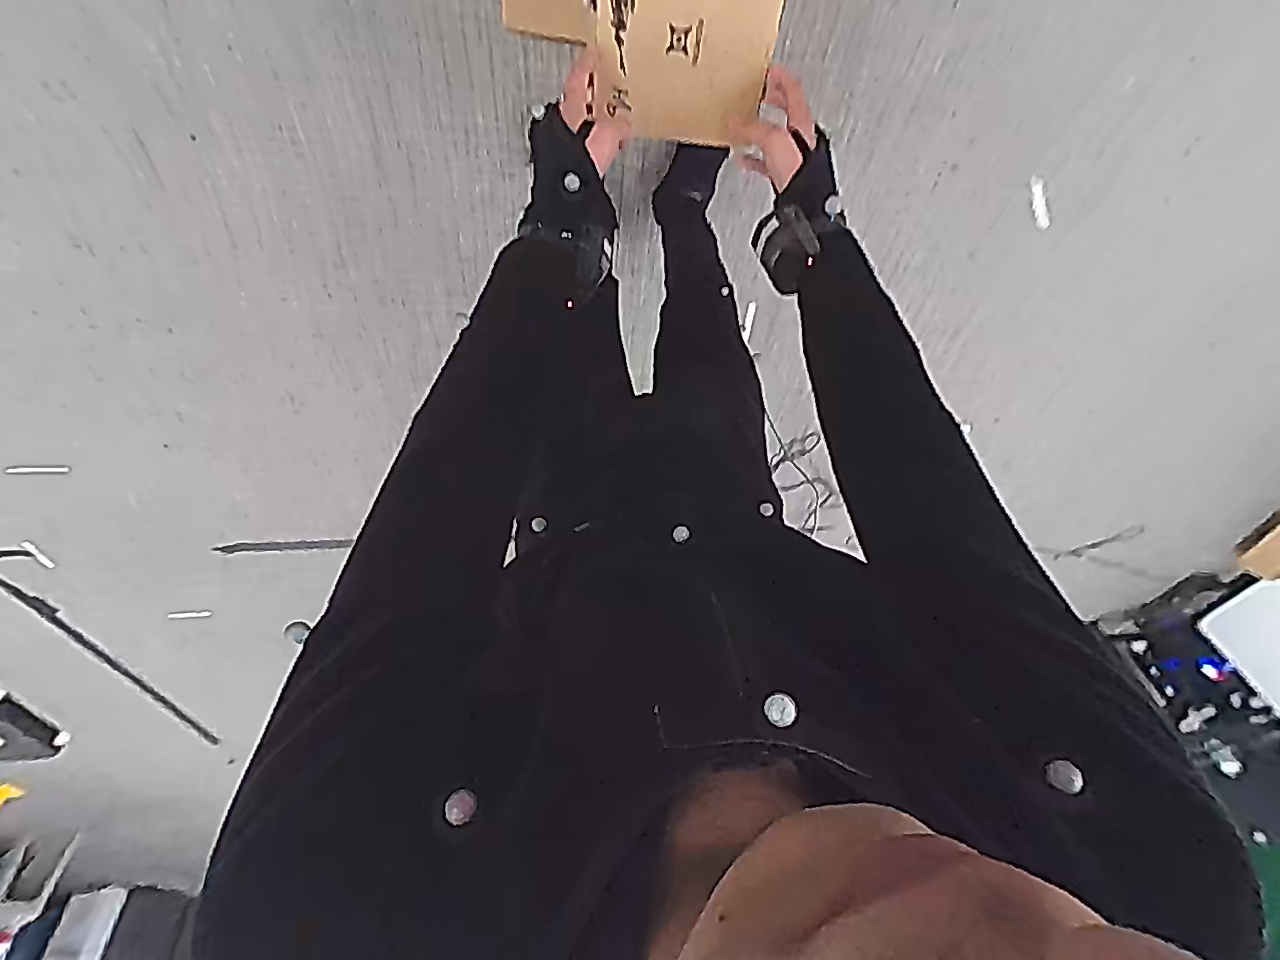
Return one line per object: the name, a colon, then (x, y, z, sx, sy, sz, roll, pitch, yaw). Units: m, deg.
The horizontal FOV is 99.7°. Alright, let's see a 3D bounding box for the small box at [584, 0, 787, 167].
small box: (0.034, -0.464, 0.585, 0.179, 0.176, 0.168, 1, 136, -9)
